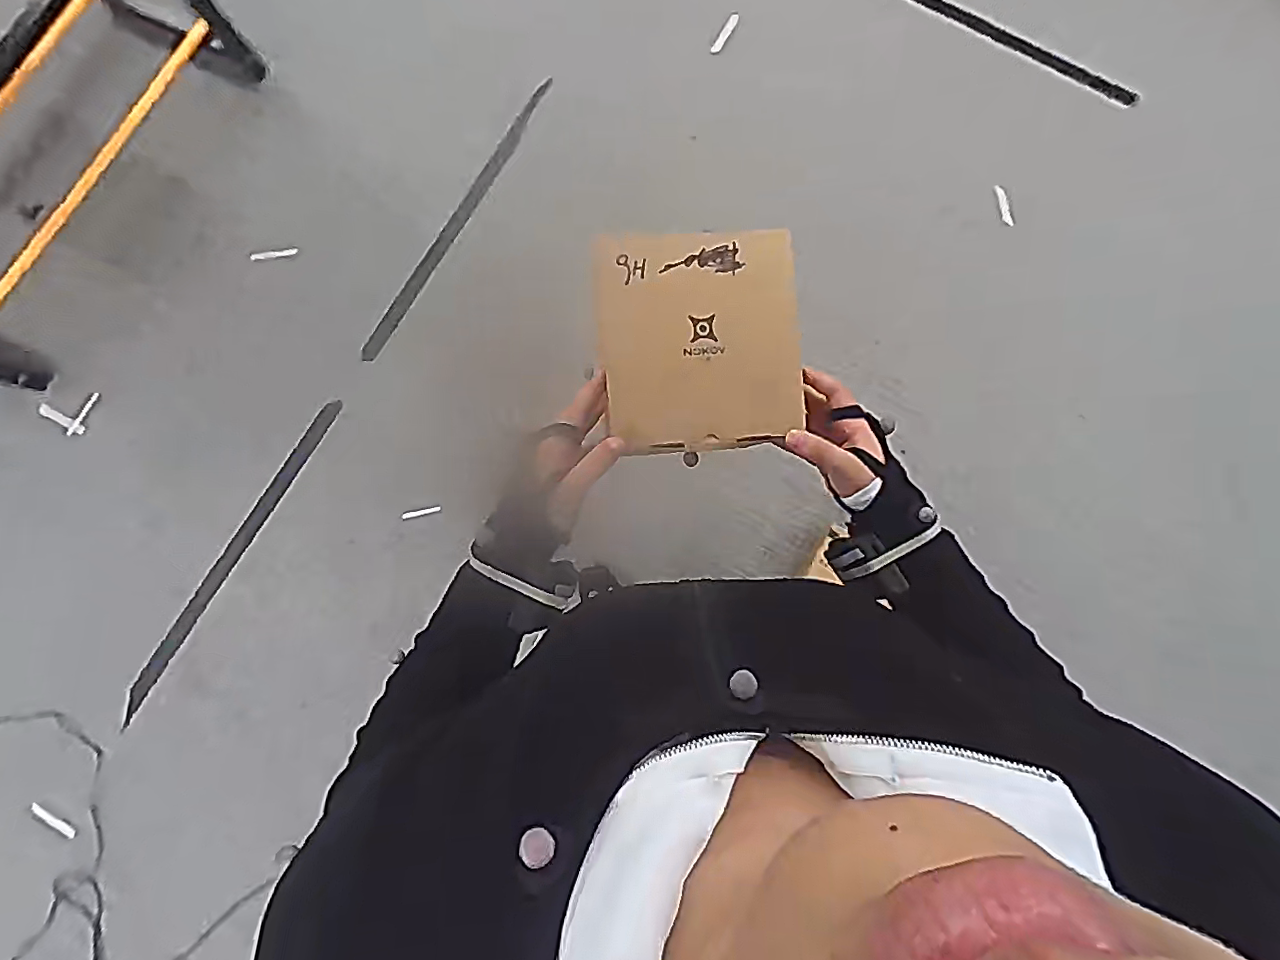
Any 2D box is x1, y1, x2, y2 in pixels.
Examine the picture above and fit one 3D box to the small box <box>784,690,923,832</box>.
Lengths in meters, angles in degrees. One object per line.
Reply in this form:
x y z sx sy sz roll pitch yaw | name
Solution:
0.426 0.560 1.108 0.179 0.176 0.168 32 84 3 | small box
